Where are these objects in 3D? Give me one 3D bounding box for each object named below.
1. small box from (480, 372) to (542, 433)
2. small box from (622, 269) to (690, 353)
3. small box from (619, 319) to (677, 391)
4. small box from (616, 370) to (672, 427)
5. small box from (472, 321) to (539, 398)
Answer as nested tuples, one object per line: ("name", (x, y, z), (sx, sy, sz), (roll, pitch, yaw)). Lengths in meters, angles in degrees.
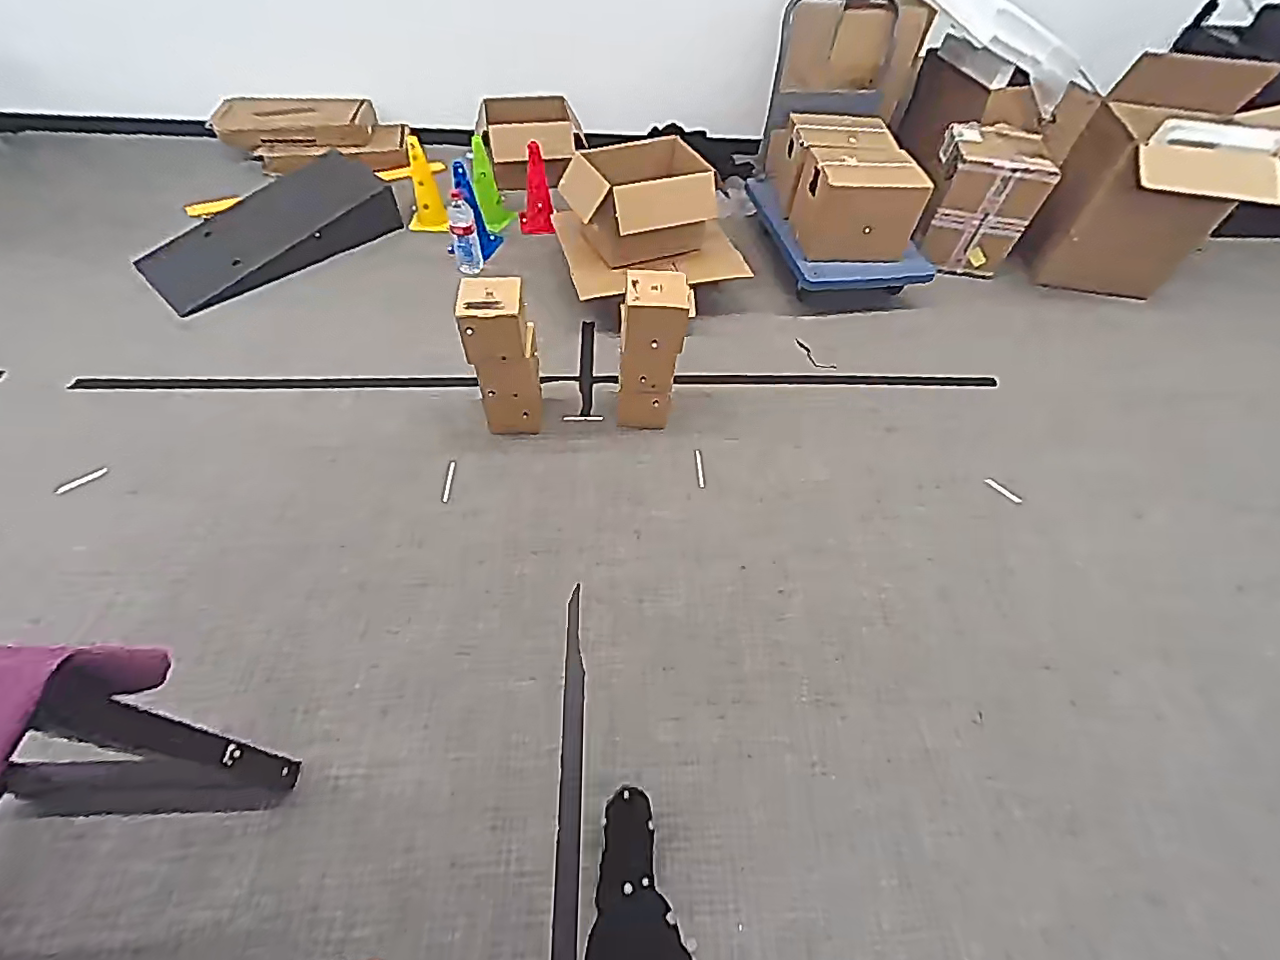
("small box", (-0.422, -0.271, 1.801), (0.179, 0.176, 0.168), (-3, 53, -5))
("small box", (0.043, -0.492, 1.589), (0.179, 0.176, 0.168), (2, 55, -4))
("small box", (0.021, -0.404, 1.726), (0.168, 0.176, 0.179), (0, 55, -5))
("small box", (0.012, -0.298, 1.849), (0.179, 0.176, 0.168), (3, 54, -2))
("small box", (-0.407, -0.367, 1.669), (0.168, 0.176, 0.179), (0, 53, -4))
